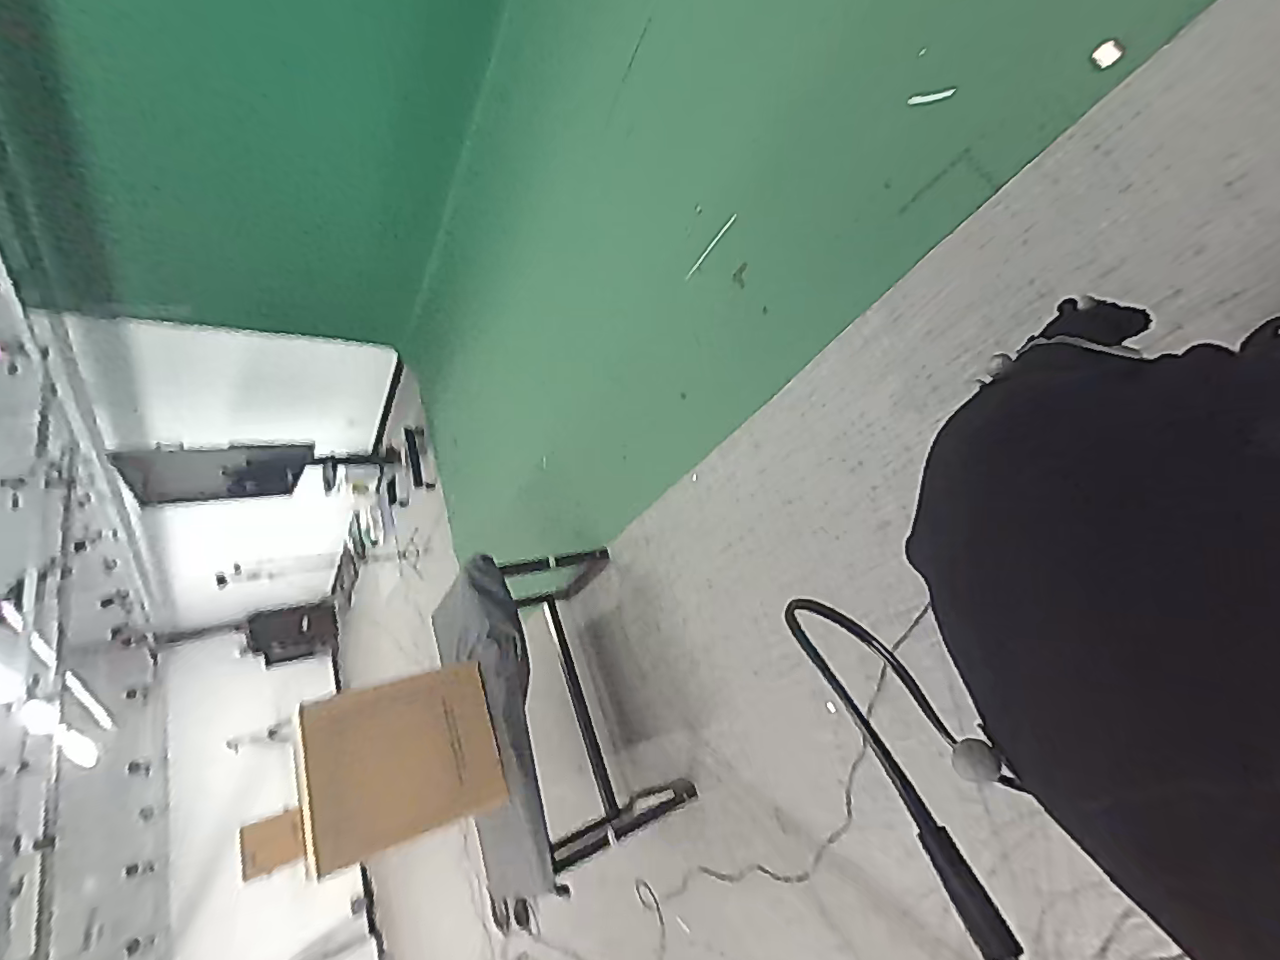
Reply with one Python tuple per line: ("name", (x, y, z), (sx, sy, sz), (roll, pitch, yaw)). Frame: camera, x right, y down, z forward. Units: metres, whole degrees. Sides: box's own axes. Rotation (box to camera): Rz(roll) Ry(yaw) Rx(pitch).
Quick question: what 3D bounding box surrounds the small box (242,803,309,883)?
("small box", (-1.187, 1.181, 1.765), (0.179, 0.176, 0.168), (-47, 58, 46))
